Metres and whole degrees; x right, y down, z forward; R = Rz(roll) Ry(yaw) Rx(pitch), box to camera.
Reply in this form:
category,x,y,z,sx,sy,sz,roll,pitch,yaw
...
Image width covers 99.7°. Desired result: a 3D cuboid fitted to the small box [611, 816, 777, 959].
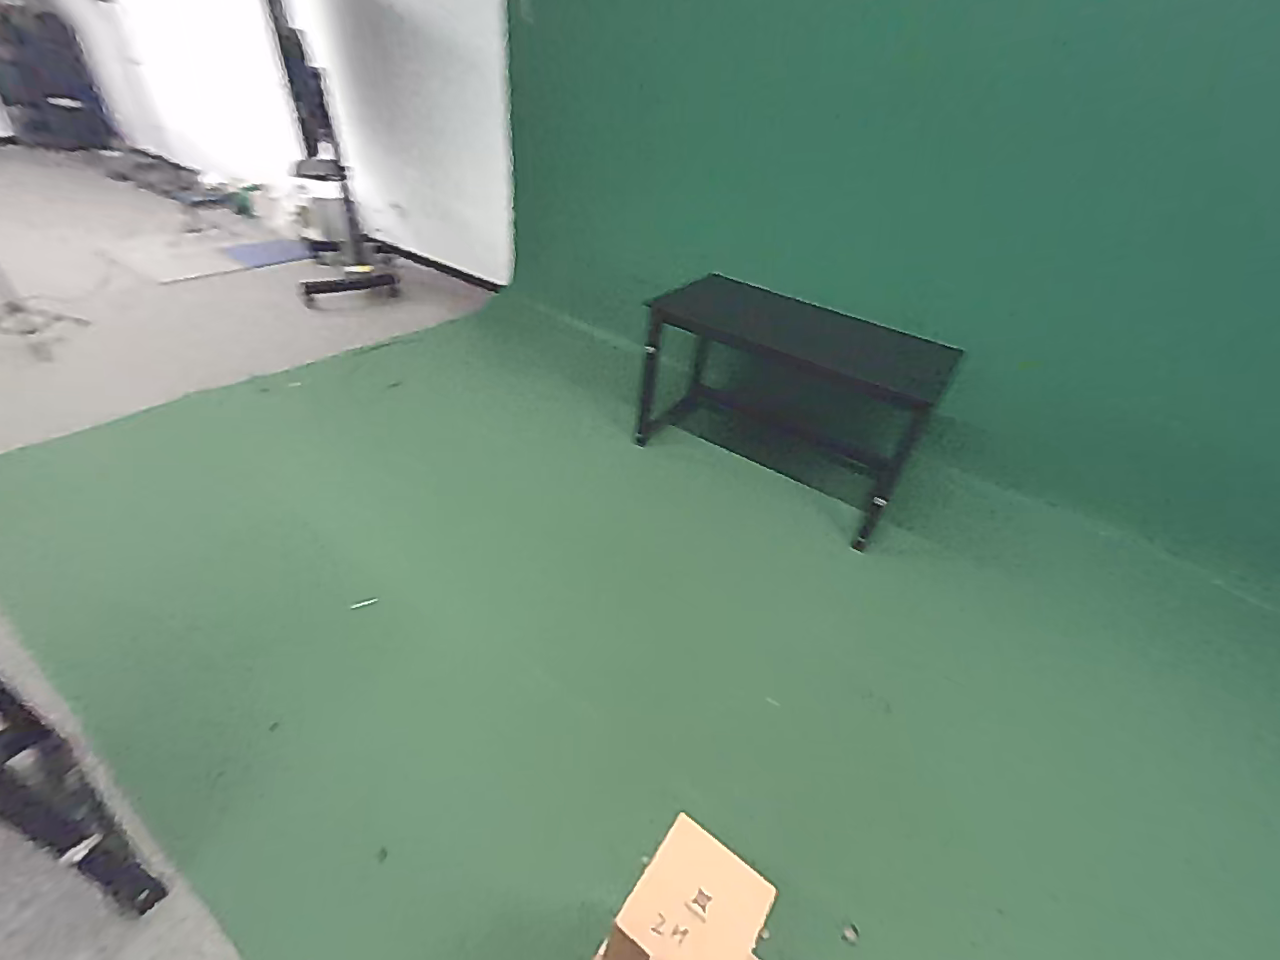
category,x,y,z,sx,sy,sz,roll,pitch,yaw
small box,0.070,0.646,0.782,0.168,0.176,0.179,28,42,25
